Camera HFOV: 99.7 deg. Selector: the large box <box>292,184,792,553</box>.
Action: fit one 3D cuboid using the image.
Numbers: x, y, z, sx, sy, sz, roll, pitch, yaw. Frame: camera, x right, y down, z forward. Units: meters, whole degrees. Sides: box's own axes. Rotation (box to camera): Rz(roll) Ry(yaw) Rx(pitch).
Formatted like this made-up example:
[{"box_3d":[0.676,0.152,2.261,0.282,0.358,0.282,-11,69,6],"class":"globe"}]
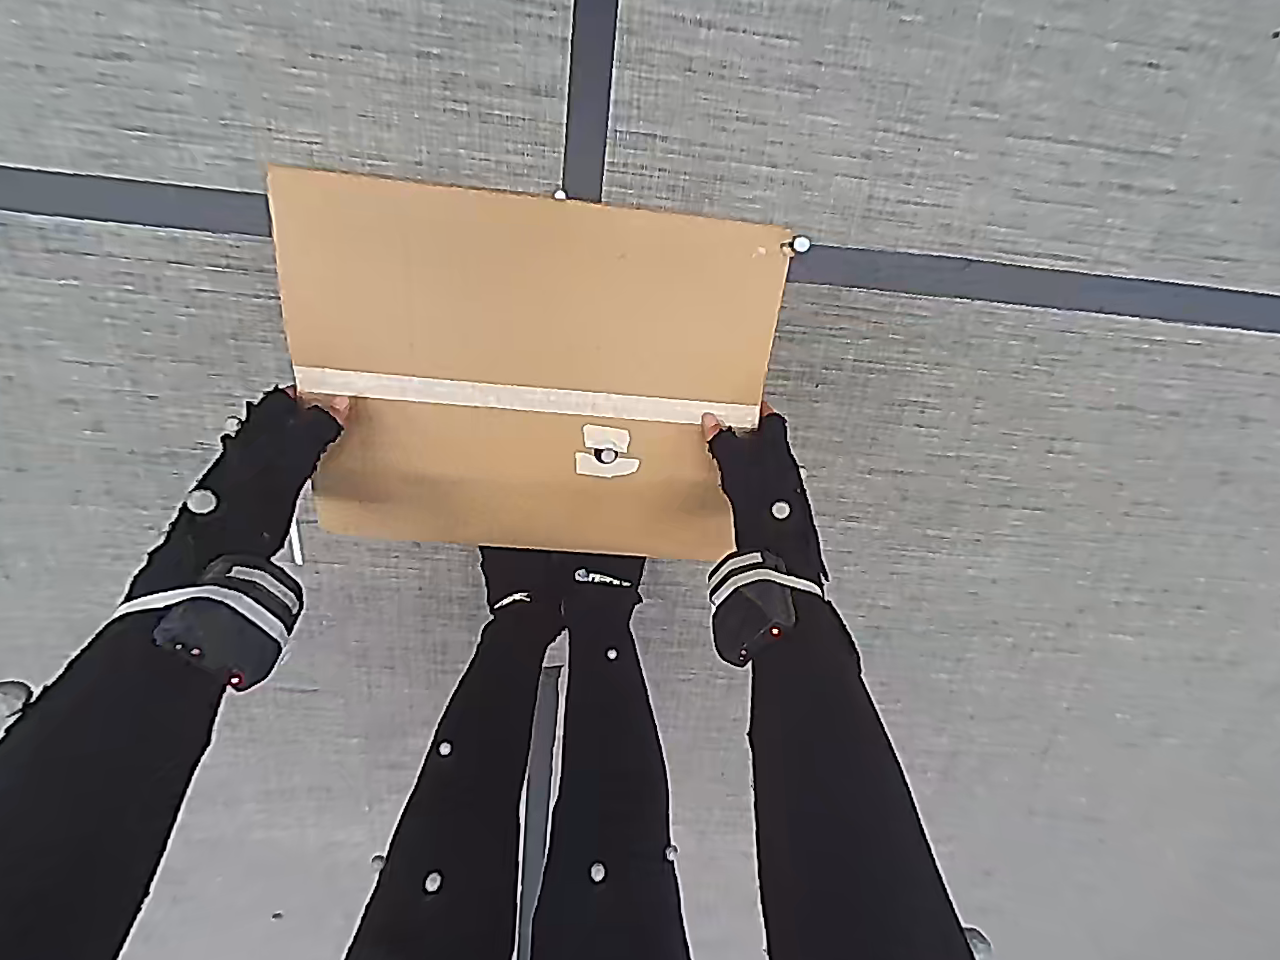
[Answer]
[{"box_3d":[-0.093,-0.132,0.623,0.408,0.320,0.320,4,114,-5],"class":"large box"}]
